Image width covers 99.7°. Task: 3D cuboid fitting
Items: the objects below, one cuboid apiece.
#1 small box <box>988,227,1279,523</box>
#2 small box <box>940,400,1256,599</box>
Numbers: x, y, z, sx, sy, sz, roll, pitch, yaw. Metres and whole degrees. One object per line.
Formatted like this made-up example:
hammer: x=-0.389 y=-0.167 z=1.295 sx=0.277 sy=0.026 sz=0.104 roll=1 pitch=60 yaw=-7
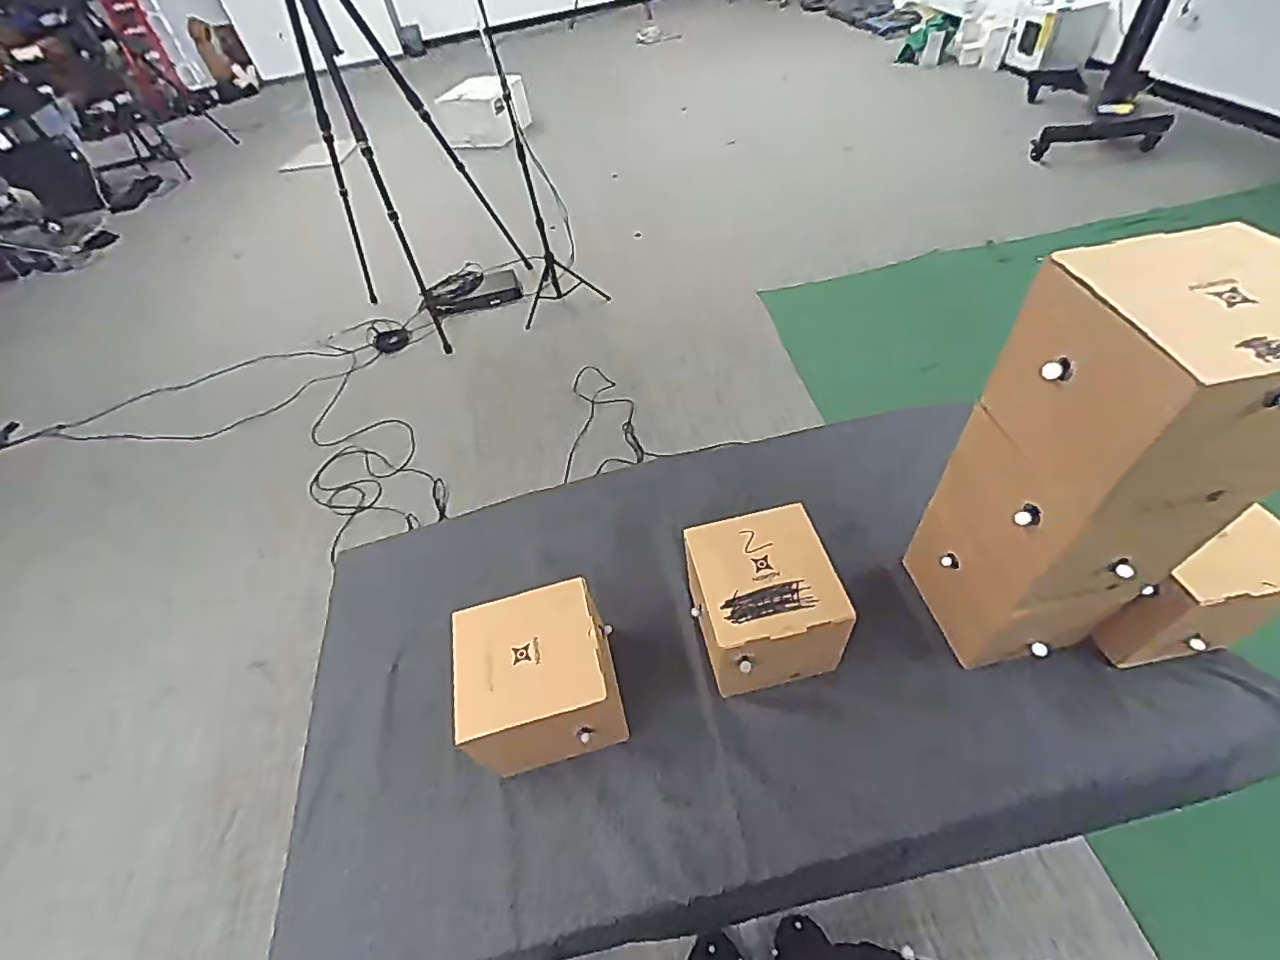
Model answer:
small box: x=0.446 y=-0.088 z=0.469 sx=0.168 sy=0.176 sz=0.179 roll=-10 pitch=49 yaw=2
small box: x=0.469 y=0.016 z=0.595 sx=0.168 sy=0.176 sz=0.179 roll=-11 pitch=49 yaw=0
